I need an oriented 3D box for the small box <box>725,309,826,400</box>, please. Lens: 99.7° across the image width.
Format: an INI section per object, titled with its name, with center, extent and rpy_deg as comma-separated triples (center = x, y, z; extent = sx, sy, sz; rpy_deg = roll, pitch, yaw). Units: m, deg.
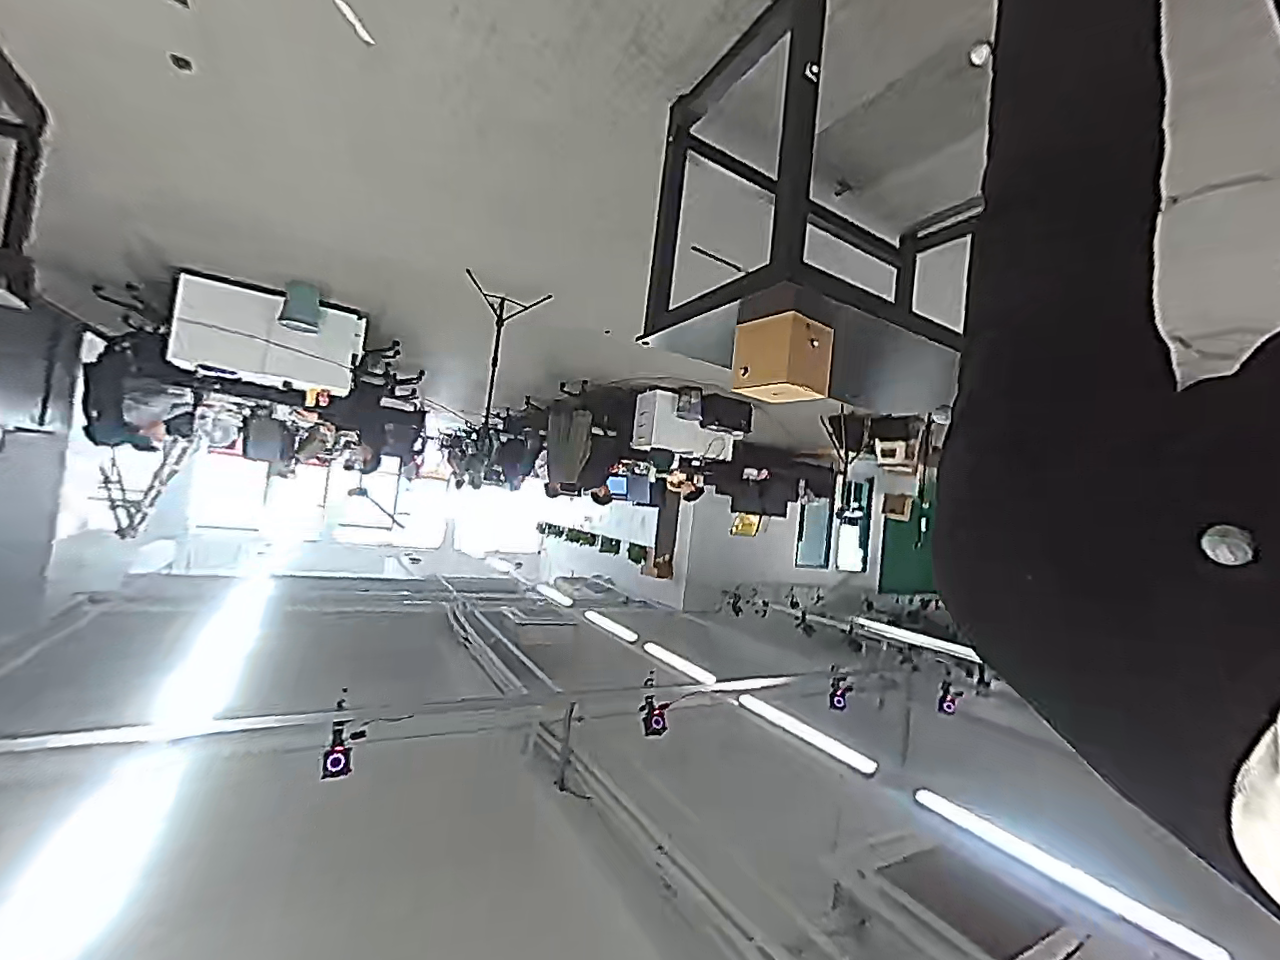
[small box]
center = 0.334, -0.301, 1.323
extent = 0.168, 0.176, 0.179
rpy_deg = 7, 178, -38
